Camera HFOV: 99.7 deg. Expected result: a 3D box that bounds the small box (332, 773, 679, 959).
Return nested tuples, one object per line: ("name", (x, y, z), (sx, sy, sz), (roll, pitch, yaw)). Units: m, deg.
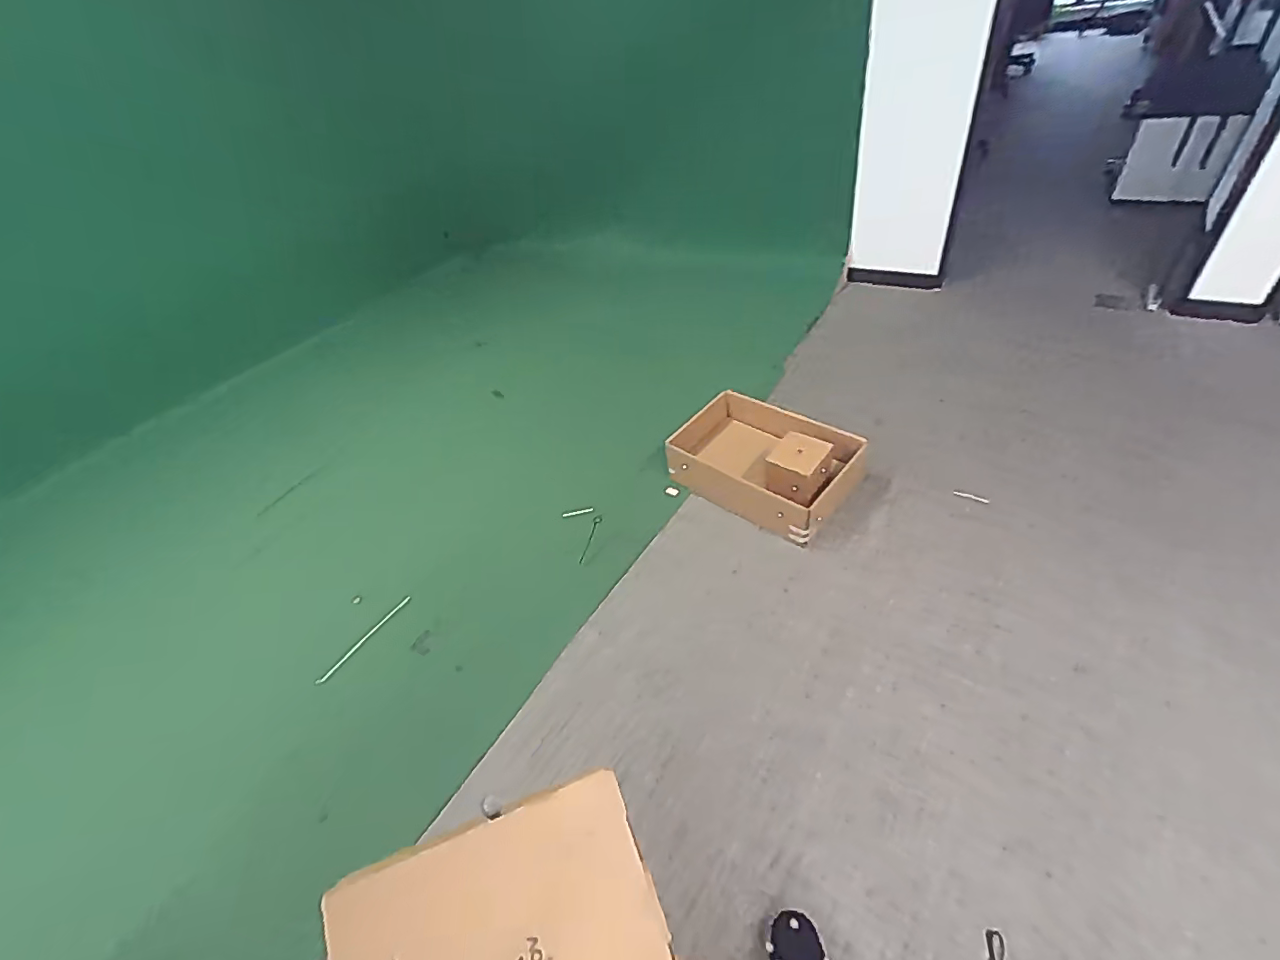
("small box", (-0.092, 0.318, 0.357), (0.179, 0.176, 0.168), (-9, 62, -30))
